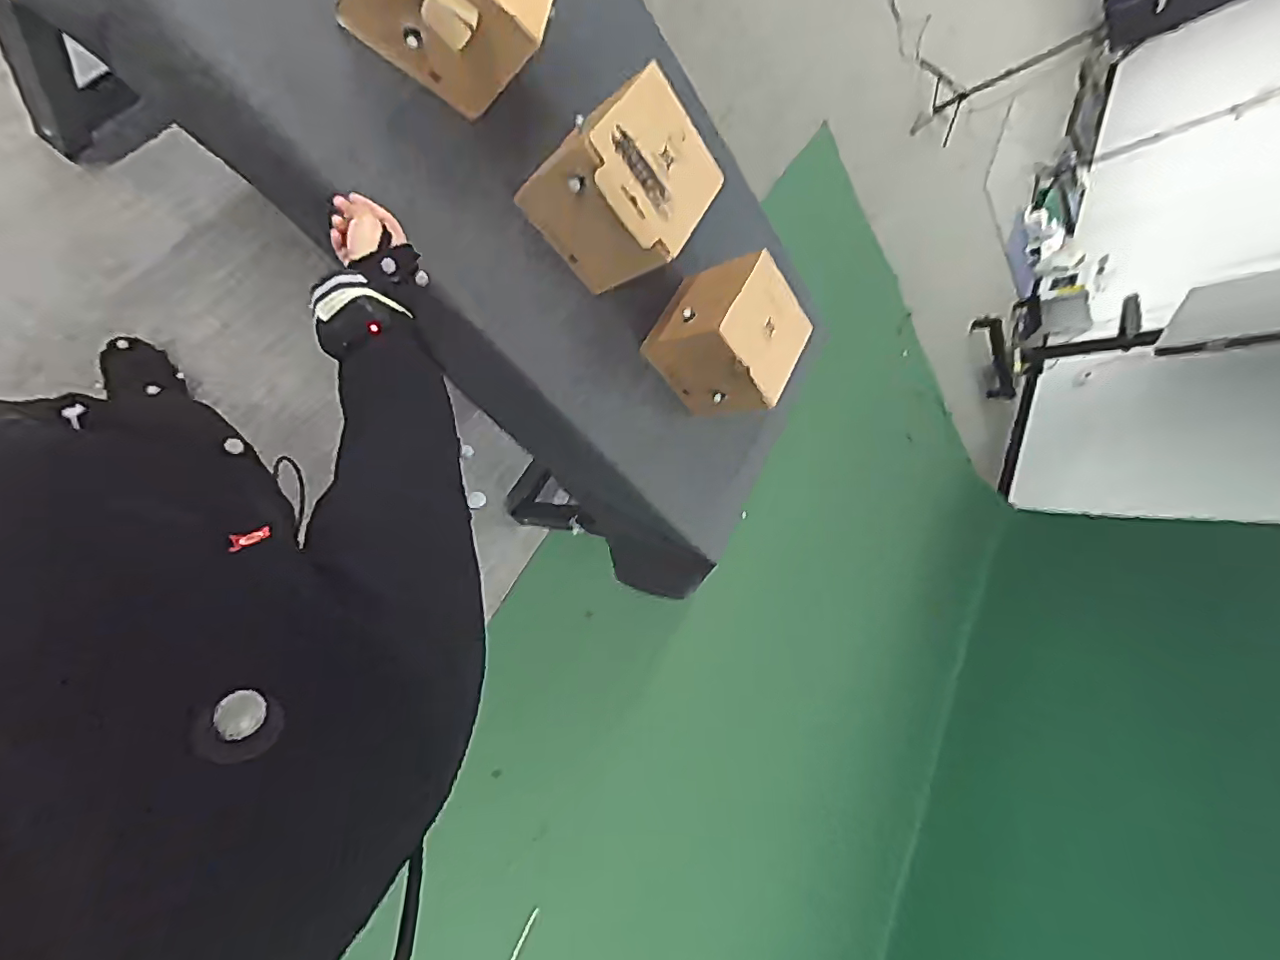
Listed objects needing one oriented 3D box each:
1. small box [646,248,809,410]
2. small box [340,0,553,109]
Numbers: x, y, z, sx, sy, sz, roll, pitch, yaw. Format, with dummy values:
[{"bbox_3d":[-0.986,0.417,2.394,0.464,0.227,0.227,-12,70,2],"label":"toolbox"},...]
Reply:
[{"bbox_3d":[0.135,-0.228,0.865,0.168,0.176,0.179,45,62,-33],"label":"small box"},{"bbox_3d":[-0.195,-0.554,0.571,0.168,0.176,0.179,19,79,-40],"label":"small box"}]
